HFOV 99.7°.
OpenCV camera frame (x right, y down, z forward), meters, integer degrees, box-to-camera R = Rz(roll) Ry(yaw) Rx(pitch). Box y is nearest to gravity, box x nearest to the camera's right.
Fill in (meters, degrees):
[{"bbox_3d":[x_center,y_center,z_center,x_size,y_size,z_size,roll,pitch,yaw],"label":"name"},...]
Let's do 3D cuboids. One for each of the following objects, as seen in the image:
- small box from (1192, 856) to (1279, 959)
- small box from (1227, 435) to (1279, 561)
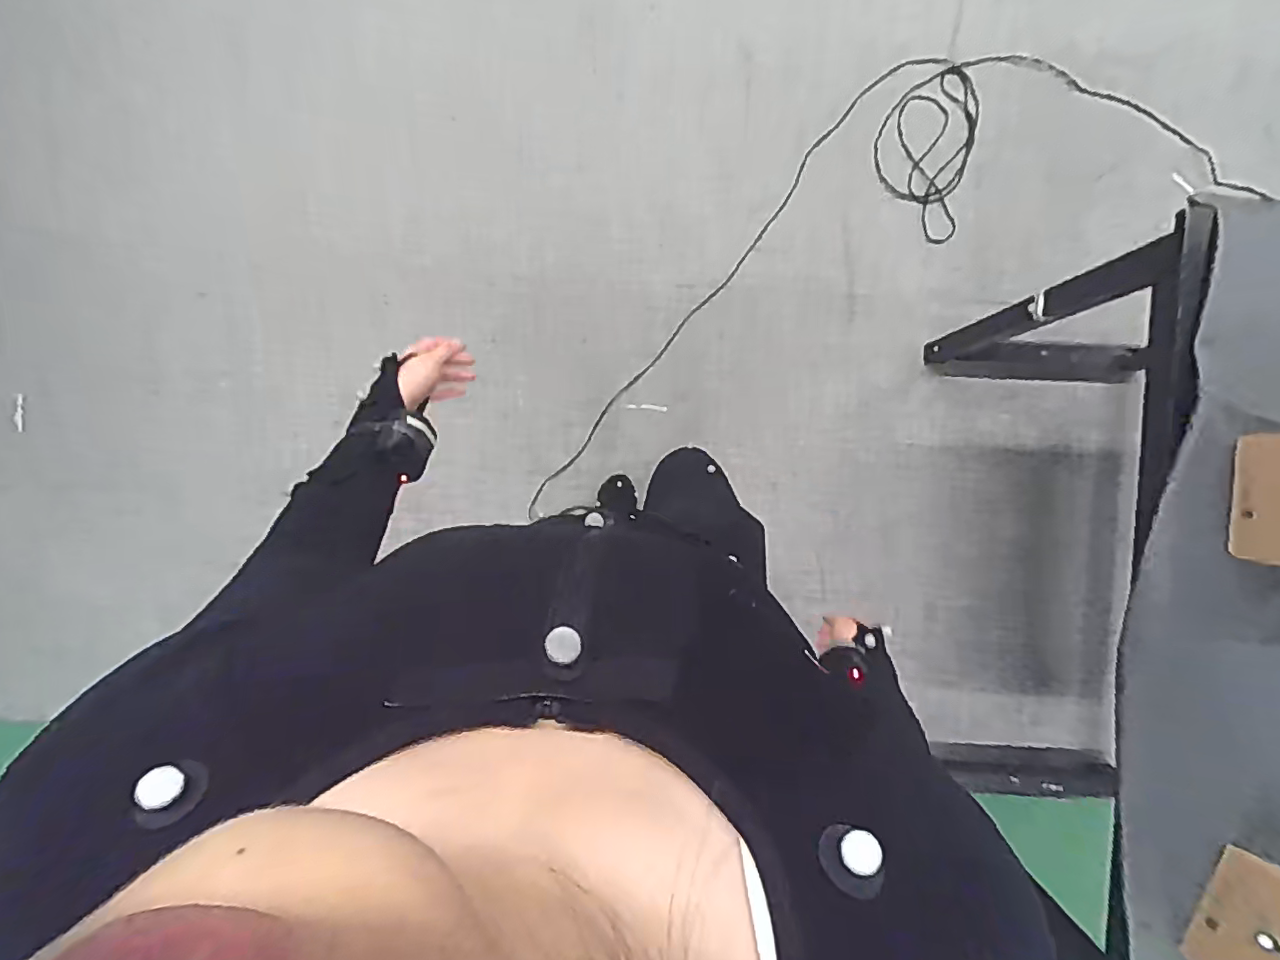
[{"bbox_3d":[0.853,0.608,0.658,0.179,0.176,0.168,23,91,-1],"label":"small box"},{"bbox_3d":[0.889,0.027,0.652,0.179,0.176,0.168,3,91,0],"label":"small box"}]
